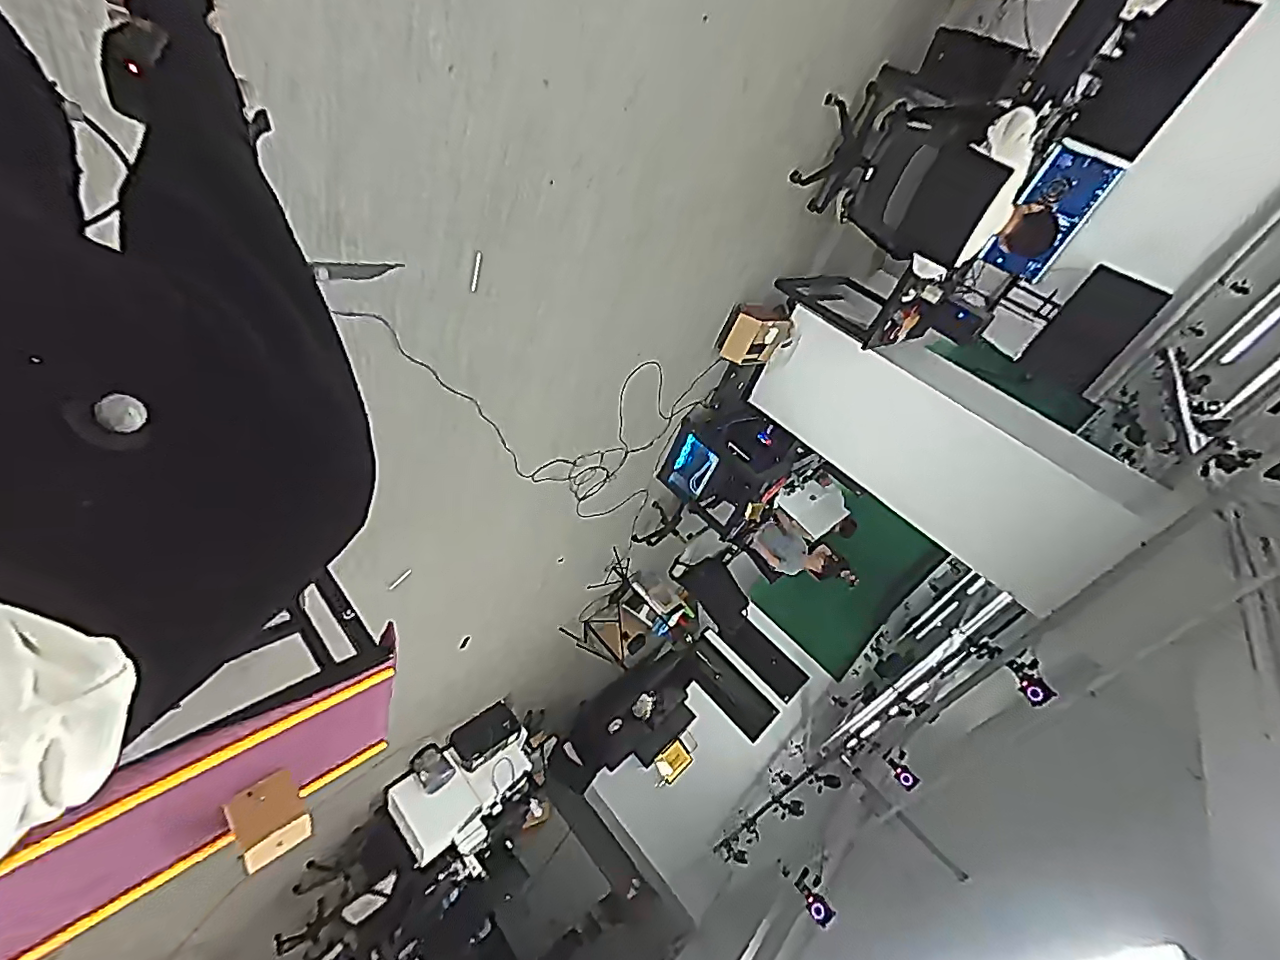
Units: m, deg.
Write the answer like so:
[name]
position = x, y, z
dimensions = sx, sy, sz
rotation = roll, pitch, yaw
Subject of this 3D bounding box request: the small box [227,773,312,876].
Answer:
[small box]
position = -1.109, 1.026, 1.622
dimensions = 0.168, 0.176, 0.179
rotation = -21, 143, -46
